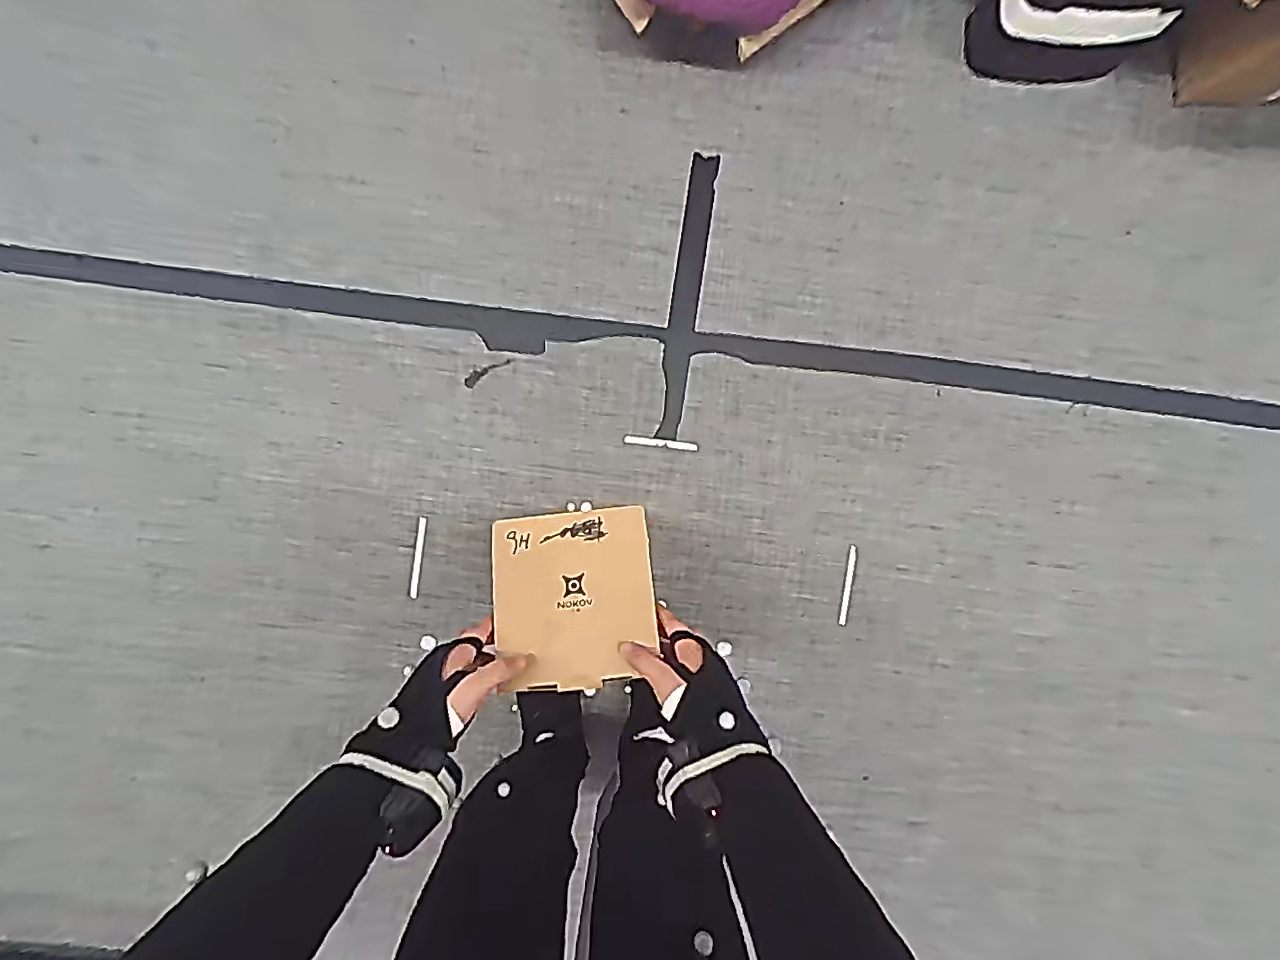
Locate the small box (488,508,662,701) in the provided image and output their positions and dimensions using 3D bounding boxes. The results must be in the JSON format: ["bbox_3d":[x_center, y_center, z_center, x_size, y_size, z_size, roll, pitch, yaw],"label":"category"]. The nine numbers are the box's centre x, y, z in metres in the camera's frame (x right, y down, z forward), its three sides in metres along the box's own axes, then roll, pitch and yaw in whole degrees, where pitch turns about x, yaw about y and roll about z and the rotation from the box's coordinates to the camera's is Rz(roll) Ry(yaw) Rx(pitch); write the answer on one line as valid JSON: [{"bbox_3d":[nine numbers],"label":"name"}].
[{"bbox_3d":[-0.065,0.143,0.615,0.168,0.176,0.179,-7,72,1],"label":"small box"}]
